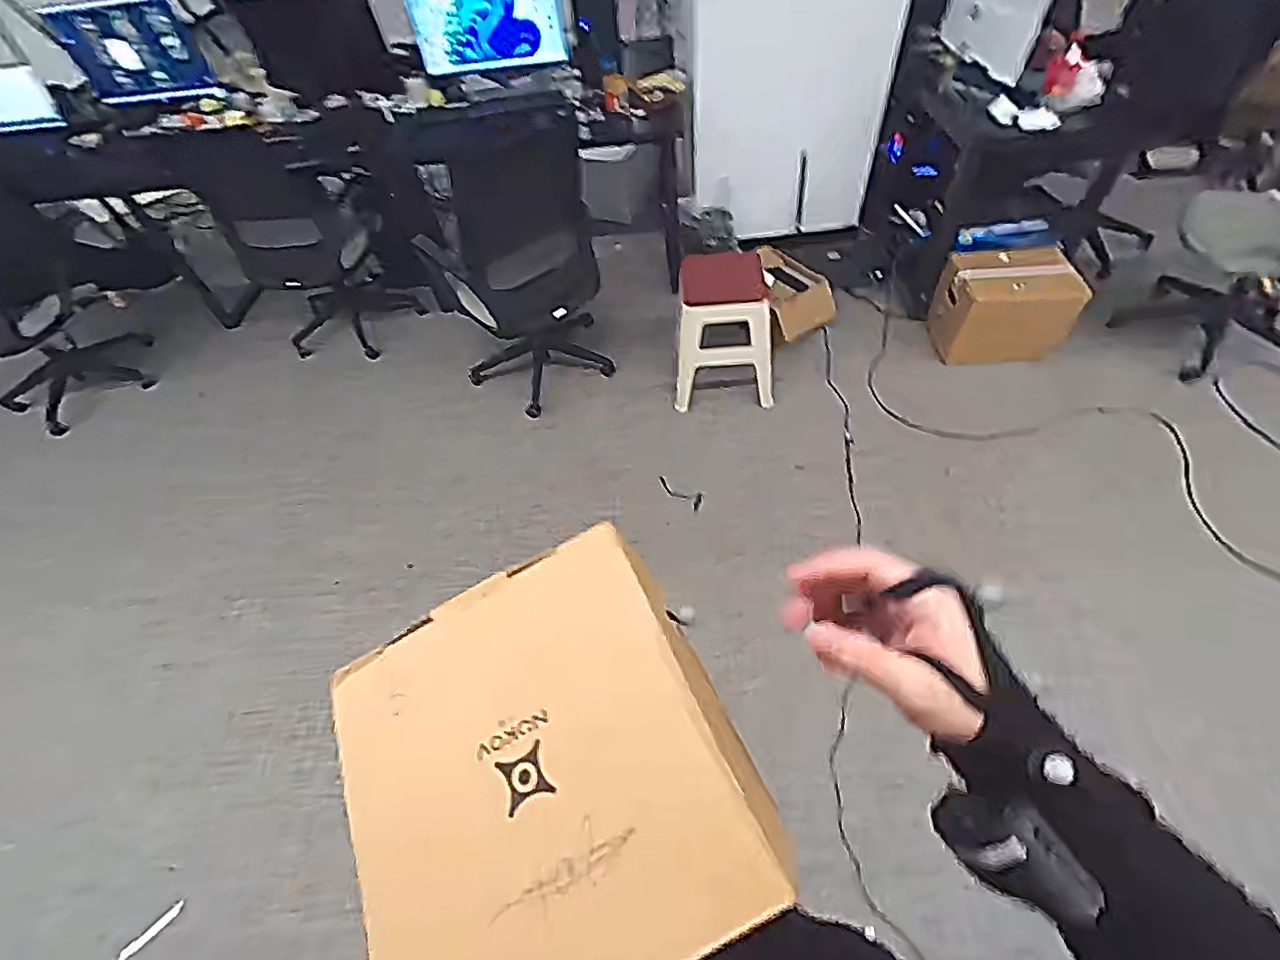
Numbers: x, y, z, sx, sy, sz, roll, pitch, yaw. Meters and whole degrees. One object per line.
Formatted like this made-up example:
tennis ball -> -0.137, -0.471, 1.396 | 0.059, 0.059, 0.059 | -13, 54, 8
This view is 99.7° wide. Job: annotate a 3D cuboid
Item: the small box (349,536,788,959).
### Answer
small box -> -0.032, 0.167, 0.319 | 0.168, 0.176, 0.179 | -29, 61, 0
